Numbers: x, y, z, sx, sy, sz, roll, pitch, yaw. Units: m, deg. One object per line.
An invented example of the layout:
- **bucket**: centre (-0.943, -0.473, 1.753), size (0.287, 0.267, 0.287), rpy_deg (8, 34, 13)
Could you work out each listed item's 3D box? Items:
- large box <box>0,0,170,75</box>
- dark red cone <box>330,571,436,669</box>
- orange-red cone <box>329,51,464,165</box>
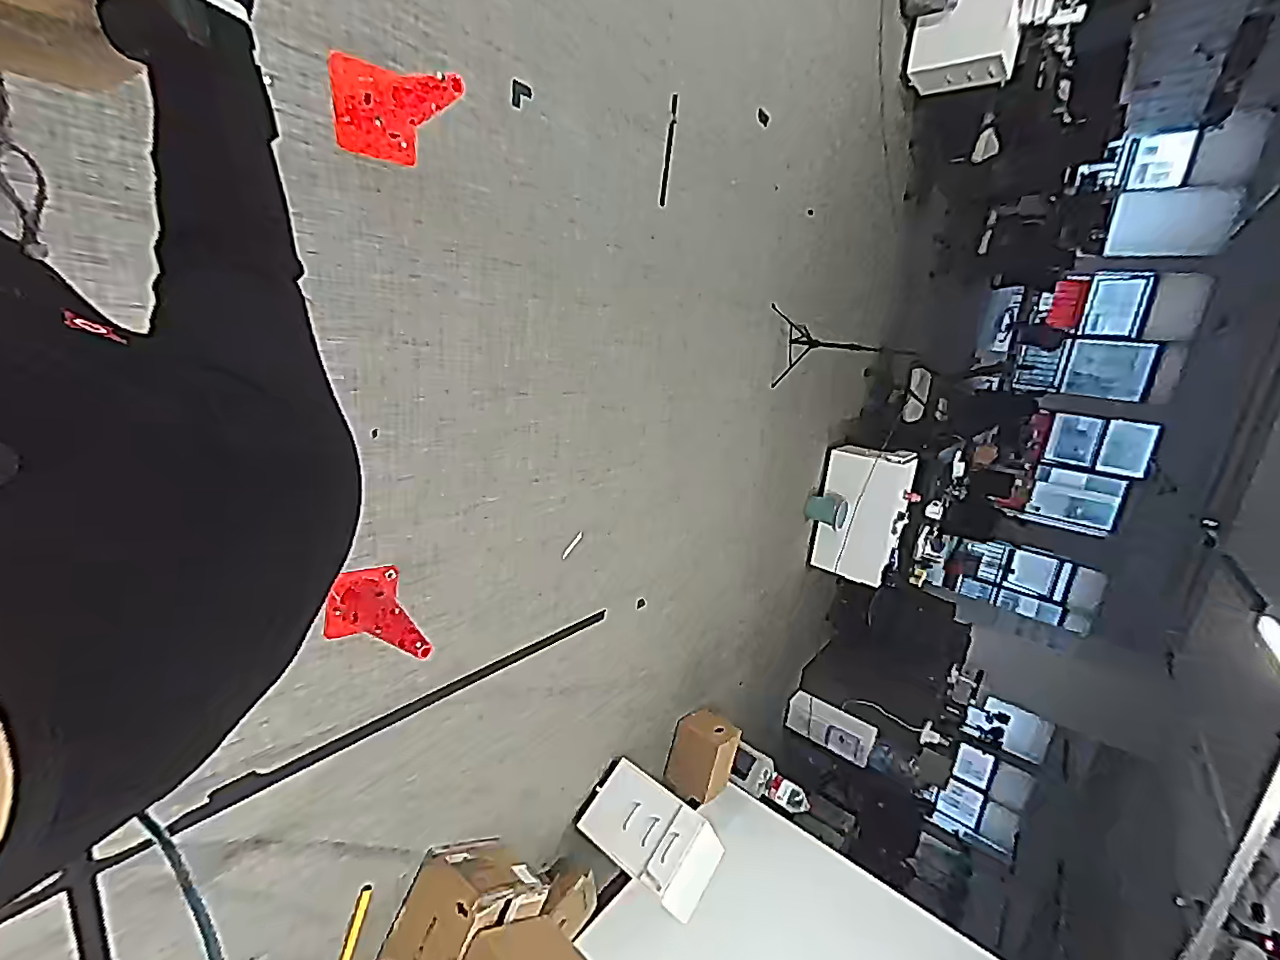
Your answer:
- **large box**: centre (-0.555, -0.468, 0.270), size (0.408, 0.320, 0.320), rpy_deg (-16, 122, -49)
- **dark red cone**: centre (-0.672, 0.406, 1.475), size (0.201, 0.394, 0.202), rpy_deg (-3, 106, -50)
- **orange-red cone**: centre (-0.513, -0.857, 1.211), size (0.198, 0.360, 0.199), rpy_deg (-16, 115, -49)
